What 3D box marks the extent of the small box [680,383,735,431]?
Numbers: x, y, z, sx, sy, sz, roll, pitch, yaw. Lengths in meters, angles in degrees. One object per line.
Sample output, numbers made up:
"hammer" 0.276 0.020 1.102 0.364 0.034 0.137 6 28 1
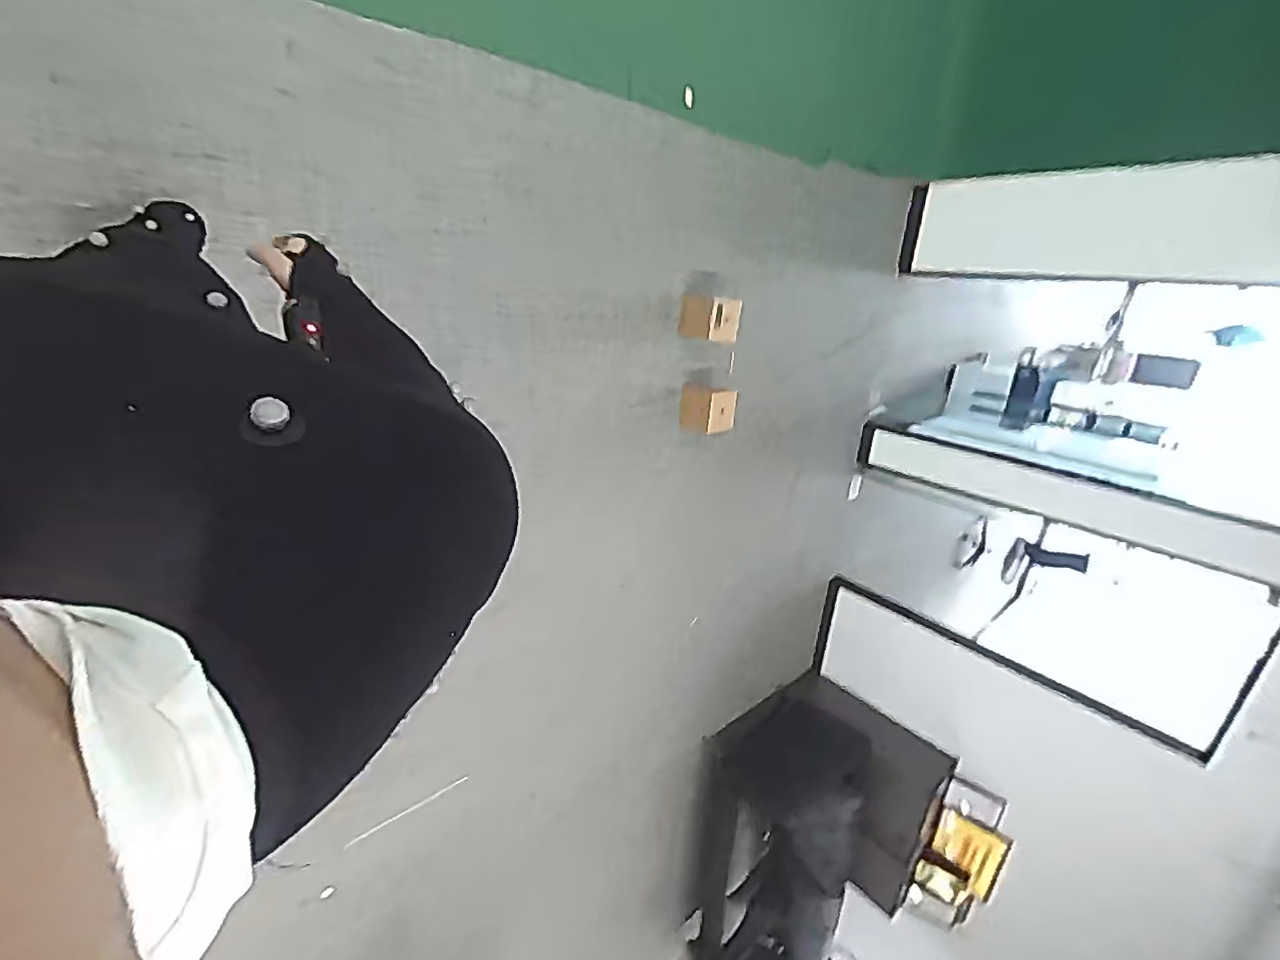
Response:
"small box" 0.290 -0.325 2.369 0.168 0.176 0.179 -13 117 -39
